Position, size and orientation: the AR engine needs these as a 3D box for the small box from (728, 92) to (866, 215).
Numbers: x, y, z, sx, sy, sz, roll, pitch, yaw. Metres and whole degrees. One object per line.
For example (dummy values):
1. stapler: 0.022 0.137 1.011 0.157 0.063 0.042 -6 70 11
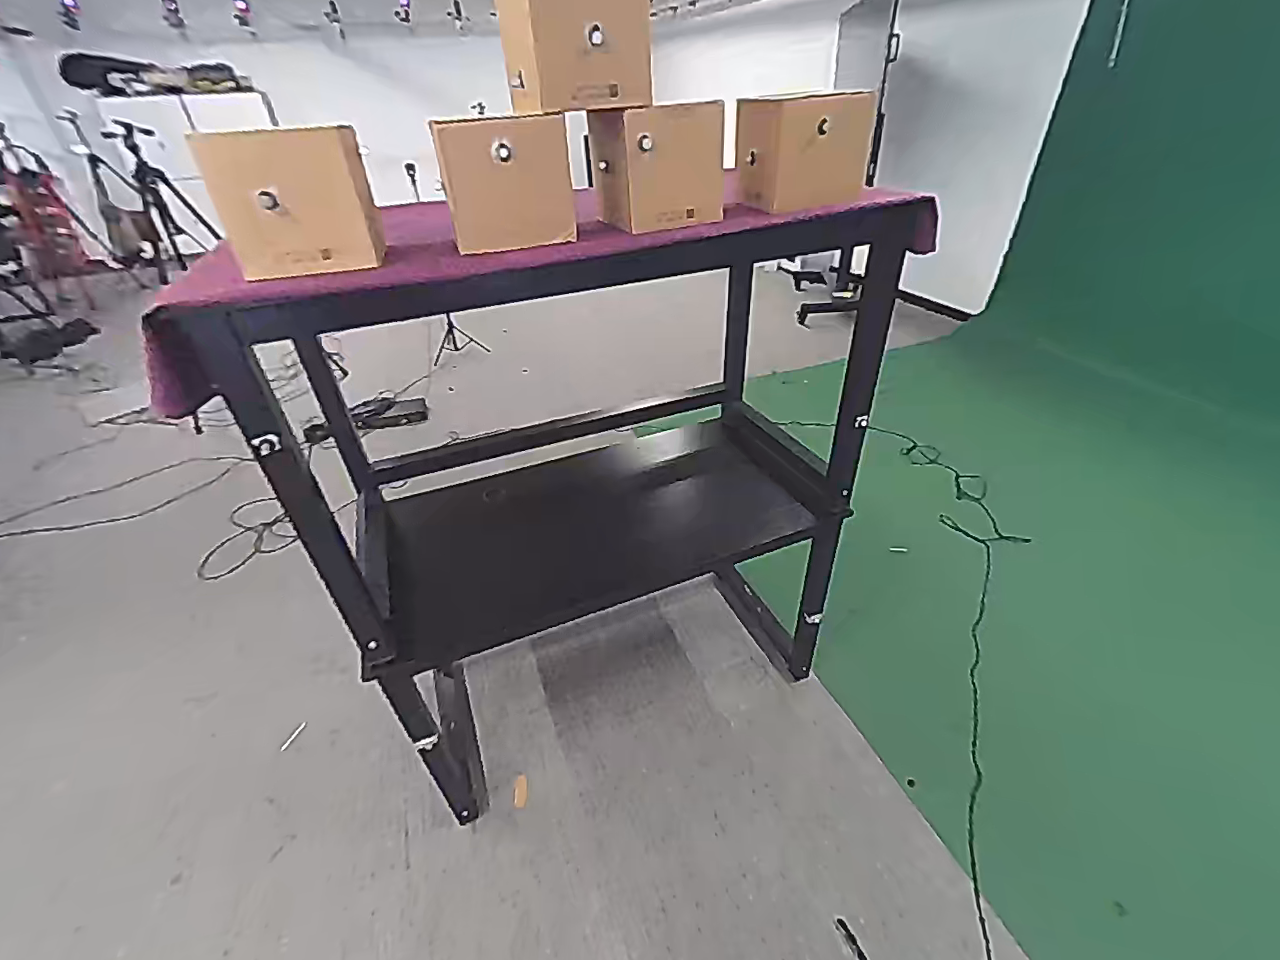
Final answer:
1. small box: 0.270 -0.582 0.966 0.179 0.176 0.168 -14 38 -13

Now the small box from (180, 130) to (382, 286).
1. small box: -0.470 -0.373 0.744 0.168 0.176 0.179 -13 35 -14

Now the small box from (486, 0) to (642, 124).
1. small box: -0.105 -0.612 0.763 0.168 0.176 0.179 -18 37 -18
